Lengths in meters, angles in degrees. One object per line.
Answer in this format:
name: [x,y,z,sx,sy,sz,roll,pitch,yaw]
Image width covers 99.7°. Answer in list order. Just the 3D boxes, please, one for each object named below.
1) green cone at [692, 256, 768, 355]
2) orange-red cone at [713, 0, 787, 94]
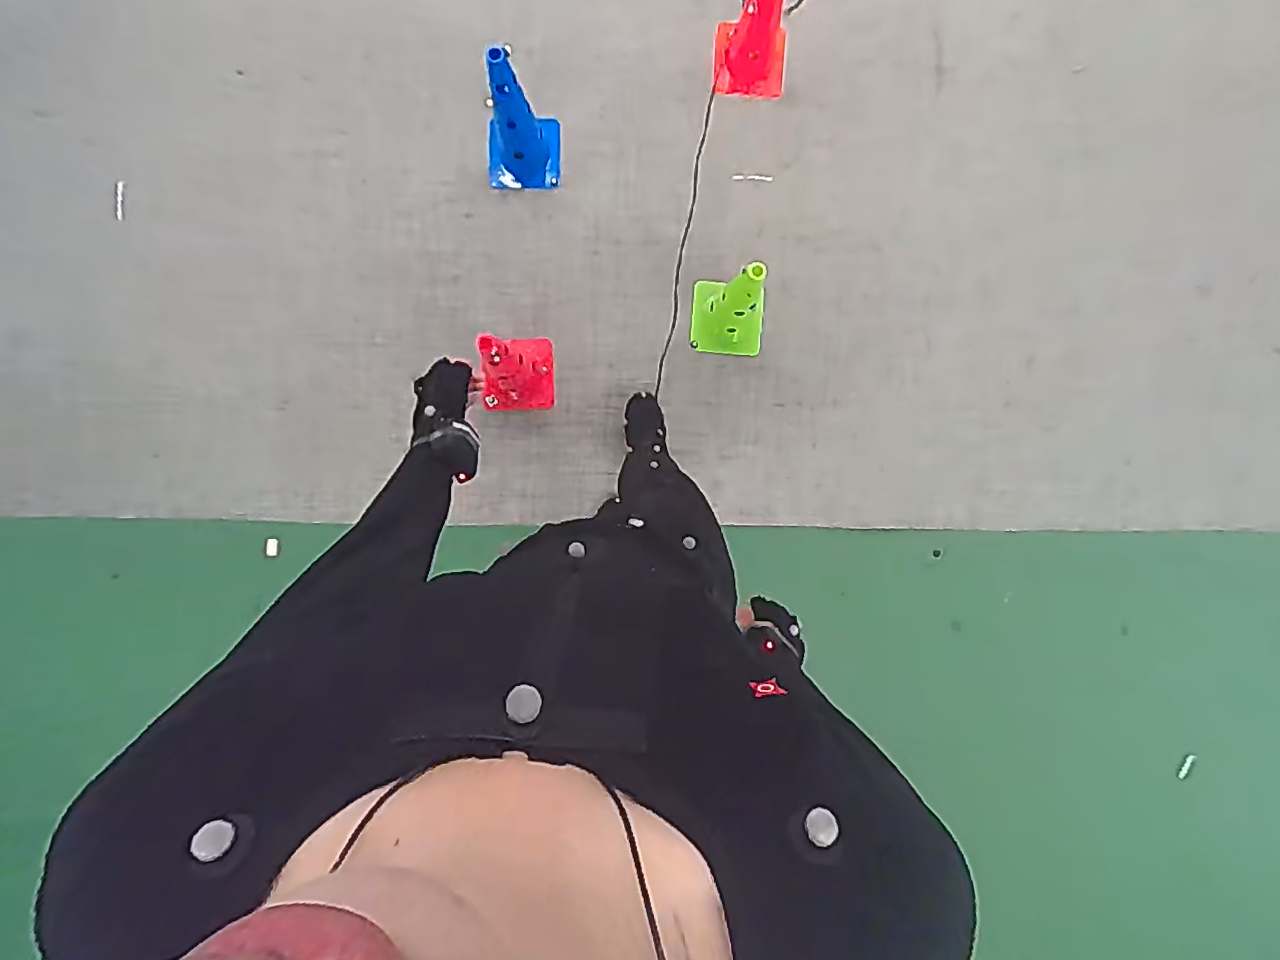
green cone: [0.256,-0.458,1.349,0.200,0.368,0.202,3,89,-2]
orange-red cone: [0.311,-1.188,1.351,0.198,0.360,0.199,6,92,0]
